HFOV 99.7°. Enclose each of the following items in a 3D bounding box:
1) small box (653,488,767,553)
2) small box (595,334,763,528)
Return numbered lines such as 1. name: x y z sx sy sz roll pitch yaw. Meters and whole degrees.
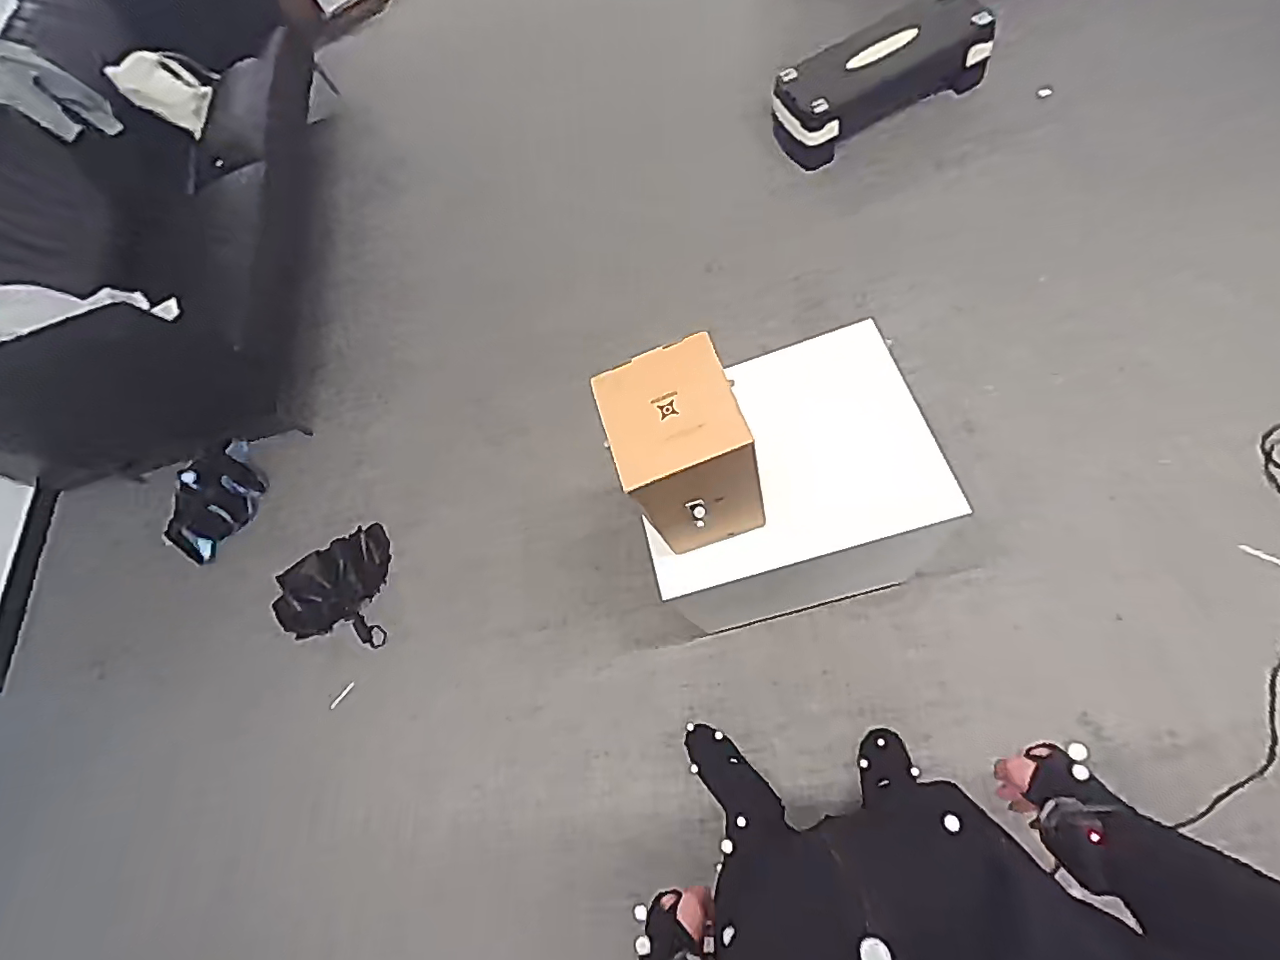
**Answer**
1. small box: 0.100 0.000 0.885 0.168 0.176 0.179 -19 64 8
2. small box: 0.058 -0.058 0.739 0.168 0.176 0.179 -22 65 8
